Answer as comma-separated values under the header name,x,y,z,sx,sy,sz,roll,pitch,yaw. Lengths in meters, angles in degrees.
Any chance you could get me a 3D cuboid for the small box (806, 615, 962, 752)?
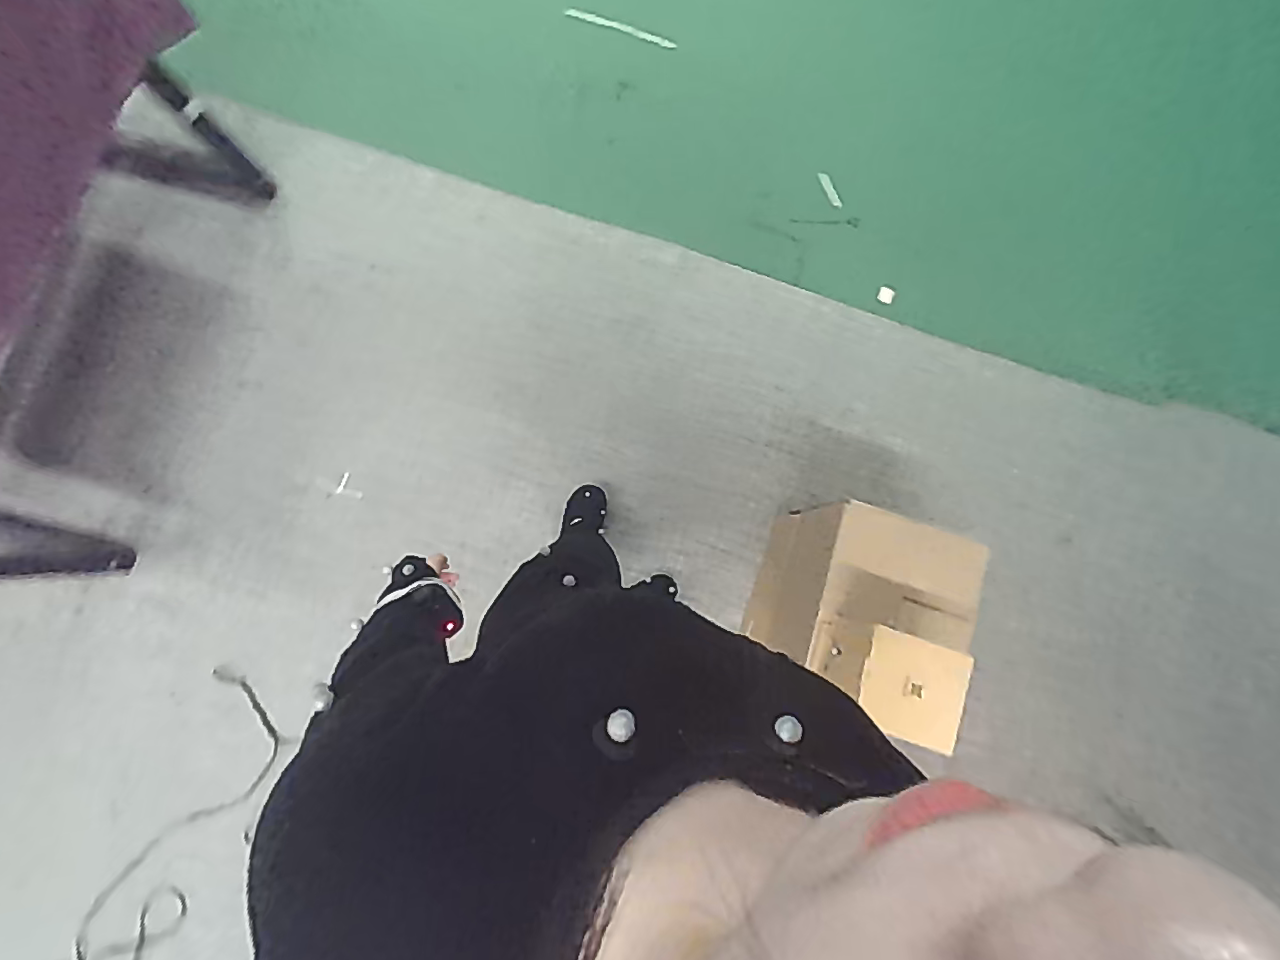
name,x,y,z,sx,sy,sz,roll,pitch,yaw
small box,0.431,0.354,0.977,0.179,0.176,0.168,20,81,0
